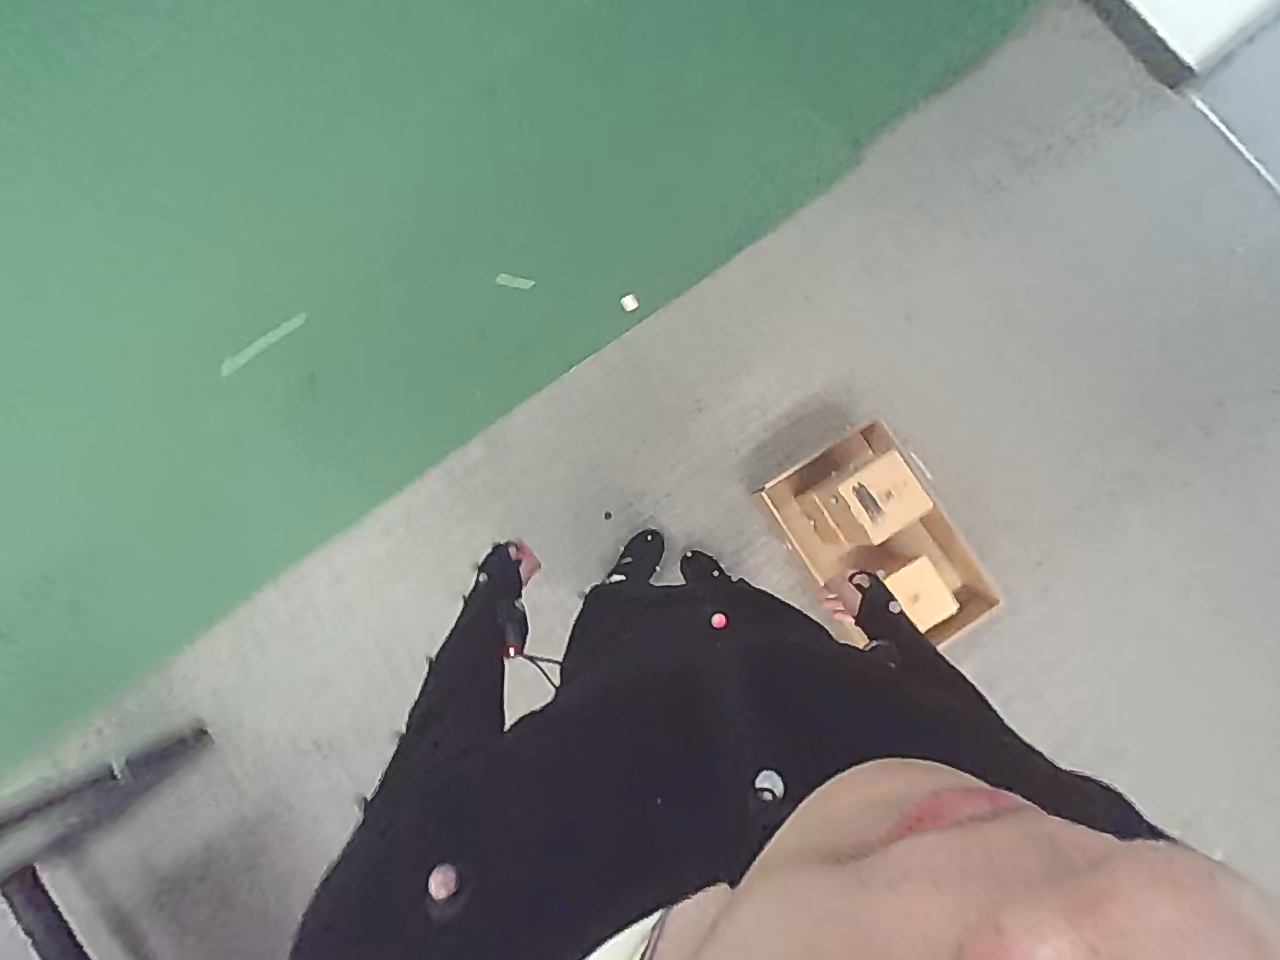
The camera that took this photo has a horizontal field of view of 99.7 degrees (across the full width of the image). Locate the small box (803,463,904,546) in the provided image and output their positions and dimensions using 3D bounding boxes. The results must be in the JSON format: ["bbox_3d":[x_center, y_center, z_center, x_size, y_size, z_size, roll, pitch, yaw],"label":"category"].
[{"bbox_3d":[0.587,0.070,1.510,0.179,0.176,0.168,-30,85,-3],"label":"small box"}]
